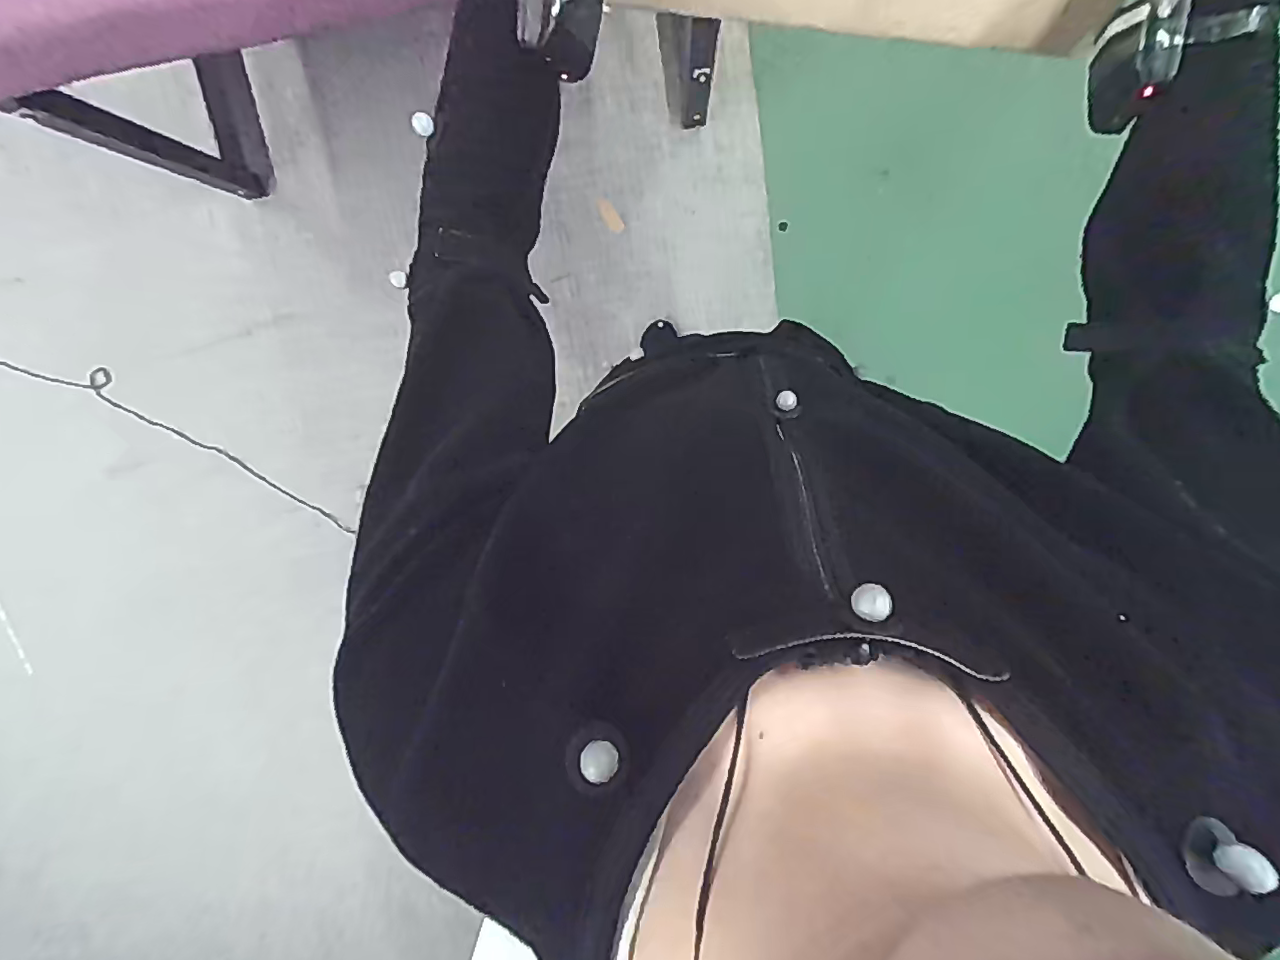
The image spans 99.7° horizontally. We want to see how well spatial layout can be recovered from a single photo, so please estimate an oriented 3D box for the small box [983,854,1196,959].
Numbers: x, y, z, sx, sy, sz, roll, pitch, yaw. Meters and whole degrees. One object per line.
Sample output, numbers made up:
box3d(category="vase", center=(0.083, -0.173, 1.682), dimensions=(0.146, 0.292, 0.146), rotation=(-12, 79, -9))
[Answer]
box3d(category="small box", center=(0.637, 0.689, 0.782), dimensions=(0.168, 0.176, 0.179), rotation=(9, 101, 0))
